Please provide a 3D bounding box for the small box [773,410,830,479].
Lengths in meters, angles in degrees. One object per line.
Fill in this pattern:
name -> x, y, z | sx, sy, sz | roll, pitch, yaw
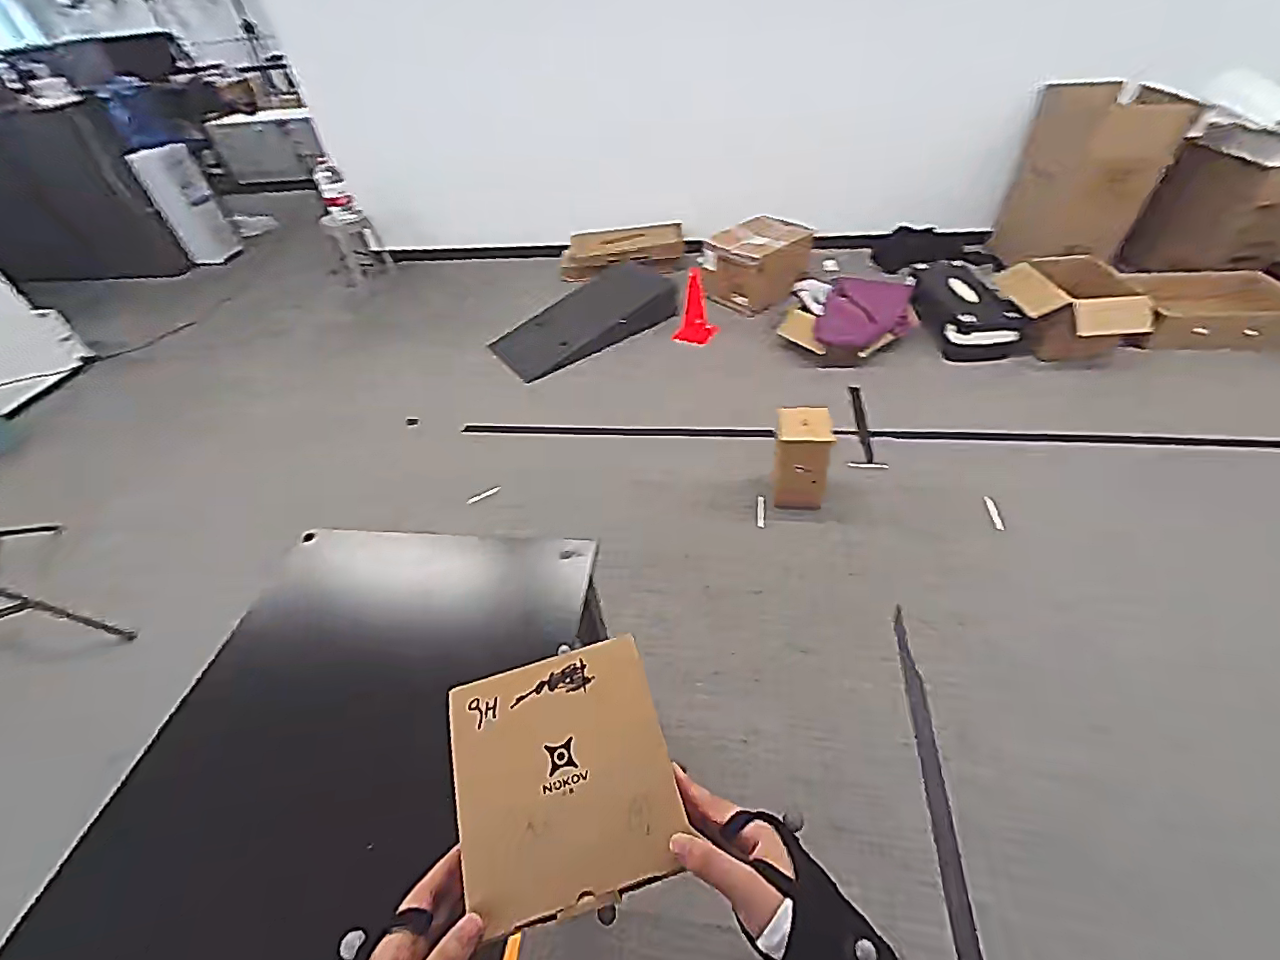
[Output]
small box -> 0.553, -0.124, 1.873 | 0.168, 0.176, 0.179 | 0, 46, 9

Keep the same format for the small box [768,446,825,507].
small box -> 0.570, -0.012, 1.990 | 0.179, 0.176, 0.168 | 1, 45, 8

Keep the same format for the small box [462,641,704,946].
small box -> -0.046, 0.273, 0.489 | 0.168, 0.176, 0.179 | -15, 57, -5
